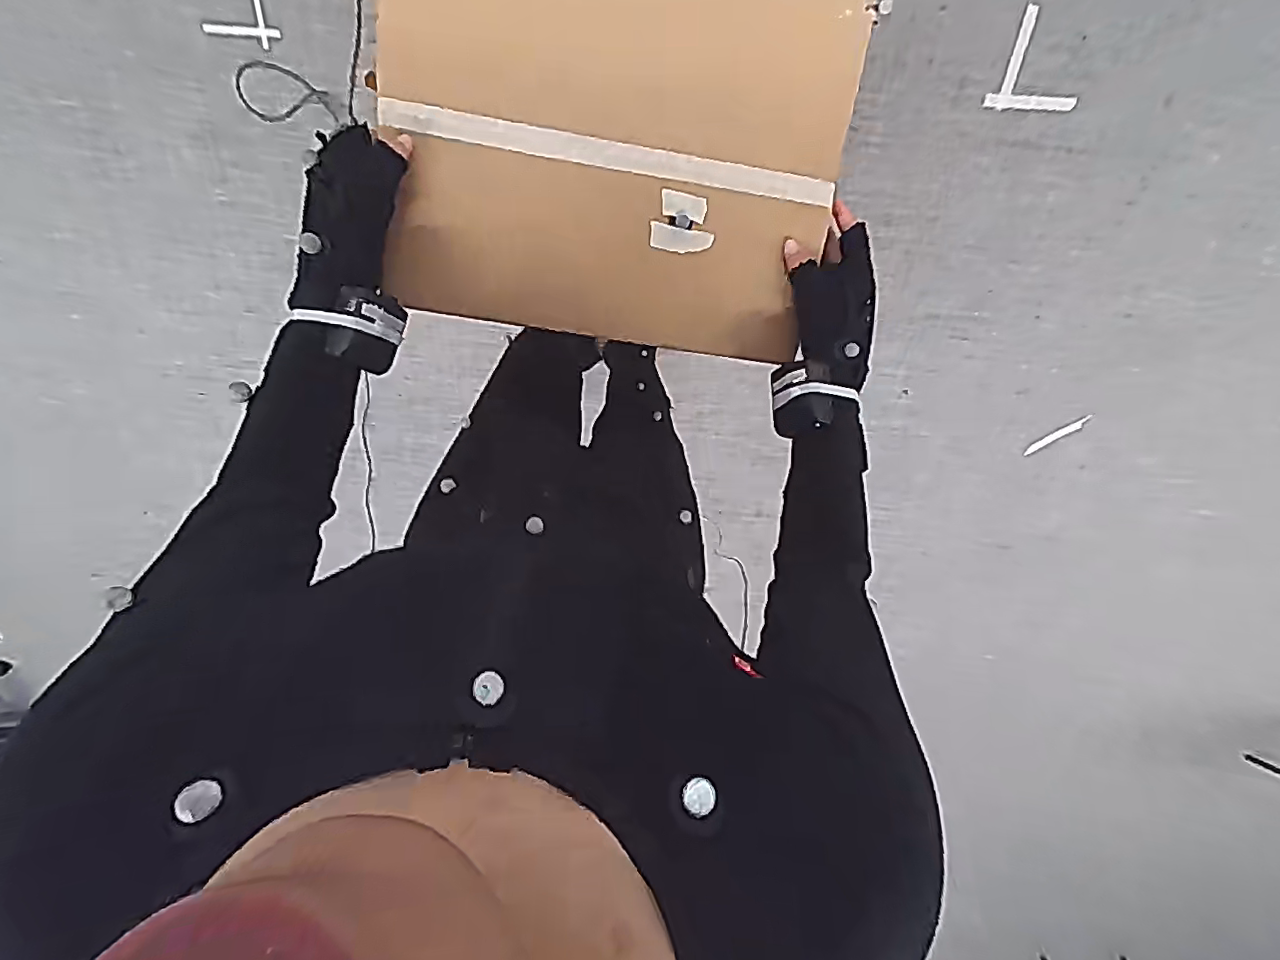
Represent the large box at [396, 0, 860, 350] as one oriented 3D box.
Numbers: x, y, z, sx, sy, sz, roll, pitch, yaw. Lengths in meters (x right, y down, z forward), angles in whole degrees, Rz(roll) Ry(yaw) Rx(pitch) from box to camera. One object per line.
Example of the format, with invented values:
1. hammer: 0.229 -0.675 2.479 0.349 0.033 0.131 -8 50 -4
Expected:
1. large box: -0.033 -0.348 0.640 0.408 0.320 0.320 7 109 -7
